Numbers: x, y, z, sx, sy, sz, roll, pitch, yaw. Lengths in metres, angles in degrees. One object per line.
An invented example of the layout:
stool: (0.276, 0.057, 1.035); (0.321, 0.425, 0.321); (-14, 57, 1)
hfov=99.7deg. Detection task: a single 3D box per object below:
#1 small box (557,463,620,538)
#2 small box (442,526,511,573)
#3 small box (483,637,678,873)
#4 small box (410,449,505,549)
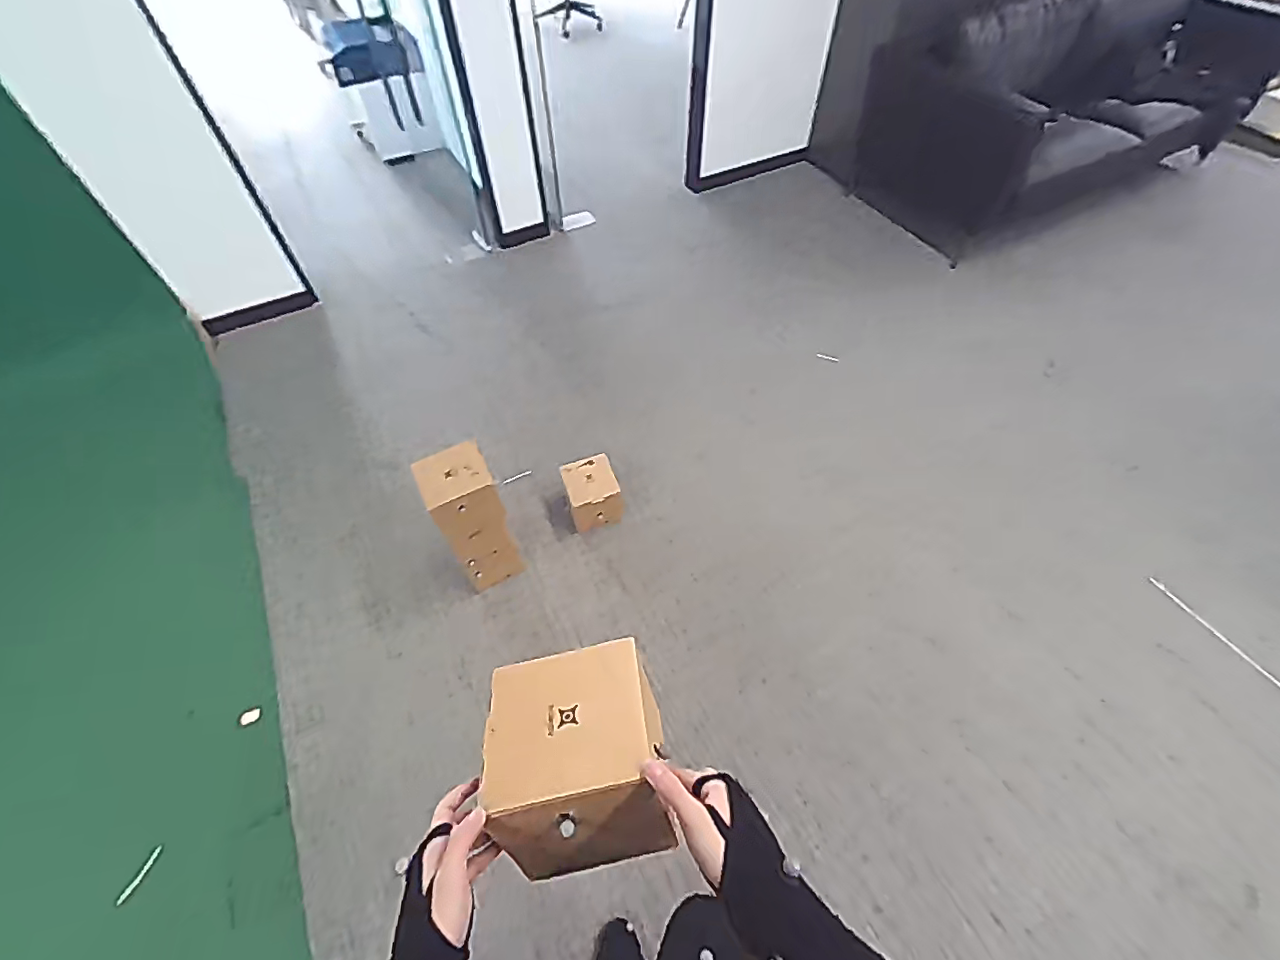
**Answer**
small box: (-0.171, 0.078, 1.837); (0.168, 0.176, 0.179); (-17, 56, -13)
small box: (-0.494, 0.149, 1.580); (0.168, 0.176, 0.179); (-25, 56, -18)
small box: (-0.059, 0.314, 0.621); (0.179, 0.176, 0.168); (-14, 34, 1)
small box: (-0.483, 0.055, 1.444); (0.179, 0.176, 0.168); (-24, 57, -18)
